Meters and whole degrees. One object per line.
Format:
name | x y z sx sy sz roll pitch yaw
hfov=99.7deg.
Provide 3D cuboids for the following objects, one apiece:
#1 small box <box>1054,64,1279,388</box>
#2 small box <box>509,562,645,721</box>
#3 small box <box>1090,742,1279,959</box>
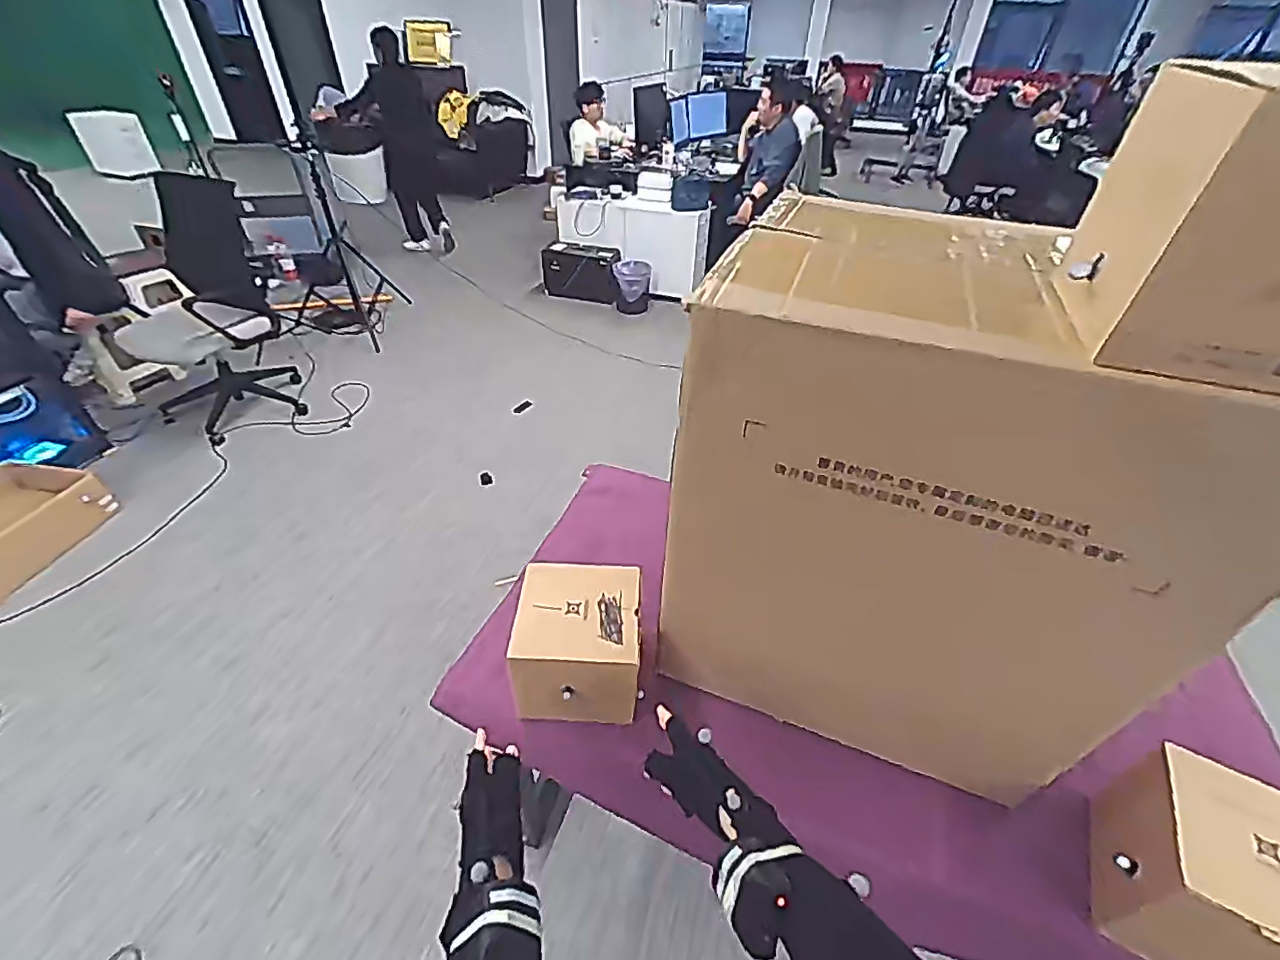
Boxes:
small box | 0.436 -0.180 0.381 0.168 0.176 0.179 14 43 15
small box | -0.086 0.245 0.817 0.179 0.176 0.168 3 40 0
small box | 0.649 0.448 0.609 0.168 0.176 0.179 22 42 22
